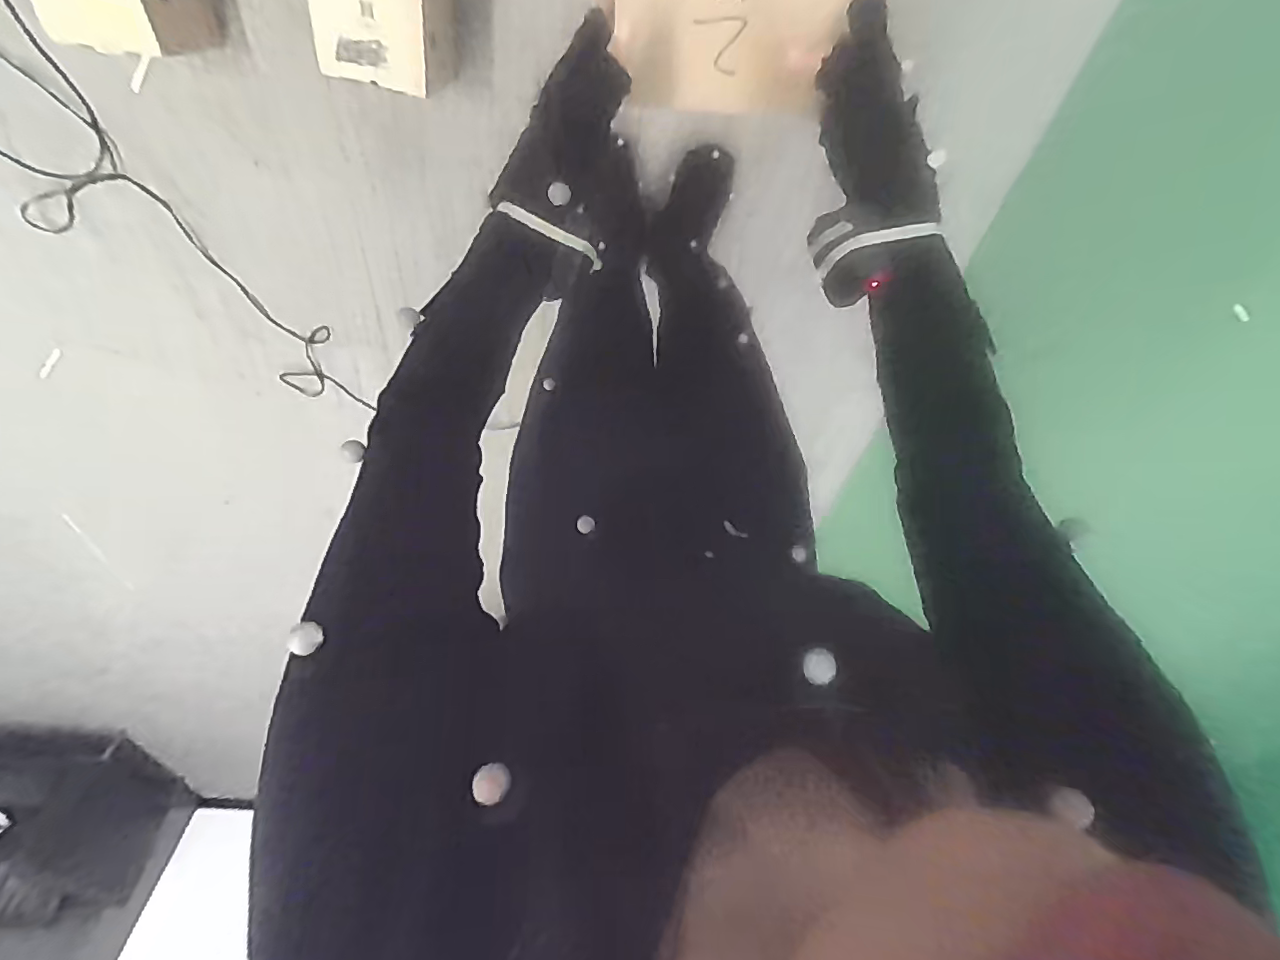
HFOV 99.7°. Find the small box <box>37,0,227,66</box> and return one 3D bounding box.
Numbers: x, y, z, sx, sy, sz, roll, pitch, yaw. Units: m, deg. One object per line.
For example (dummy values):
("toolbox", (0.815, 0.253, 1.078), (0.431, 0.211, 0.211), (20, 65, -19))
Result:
("small box", (-0.801, -0.775, 0.841), (0.168, 0.176, 0.179), (6, 134, -4))

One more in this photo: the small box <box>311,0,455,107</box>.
("small box", (-0.401, -0.734, 0.866), (0.168, 0.176, 0.179), (10, 132, -7))
